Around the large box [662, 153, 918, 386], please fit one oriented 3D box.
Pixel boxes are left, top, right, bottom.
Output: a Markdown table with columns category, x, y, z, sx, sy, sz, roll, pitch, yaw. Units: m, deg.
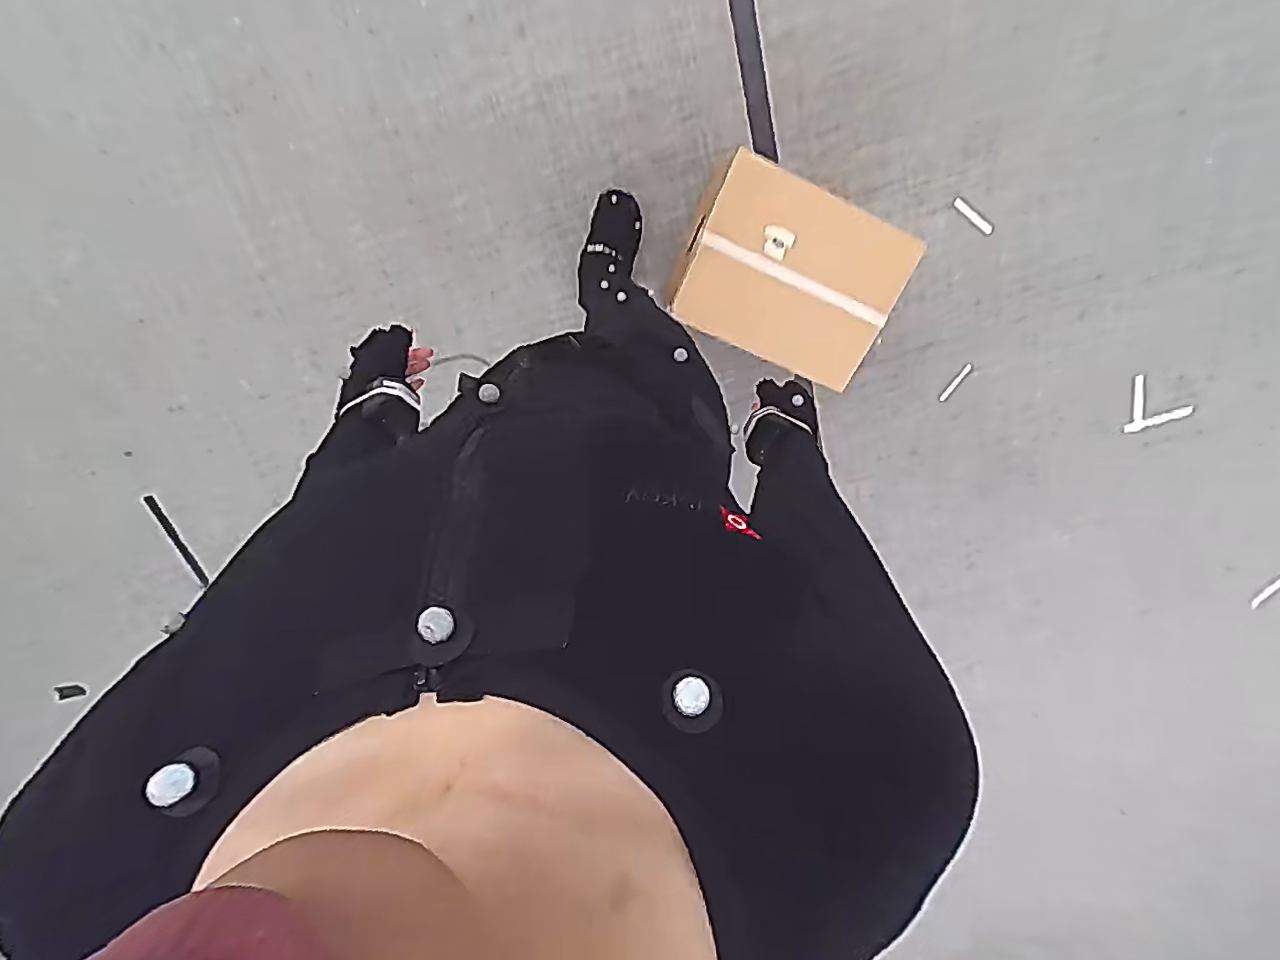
| category | x | y | z | sx | sy | sz | roll | pitch | yaw |
| --- | --- | --- | --- | --- | --- | --- | --- | --- | --- |
| large box | 0.293 | -0.451 | 1.187 | 0.408 | 0.320 | 0.320 | 21 | 111 | -9 |
